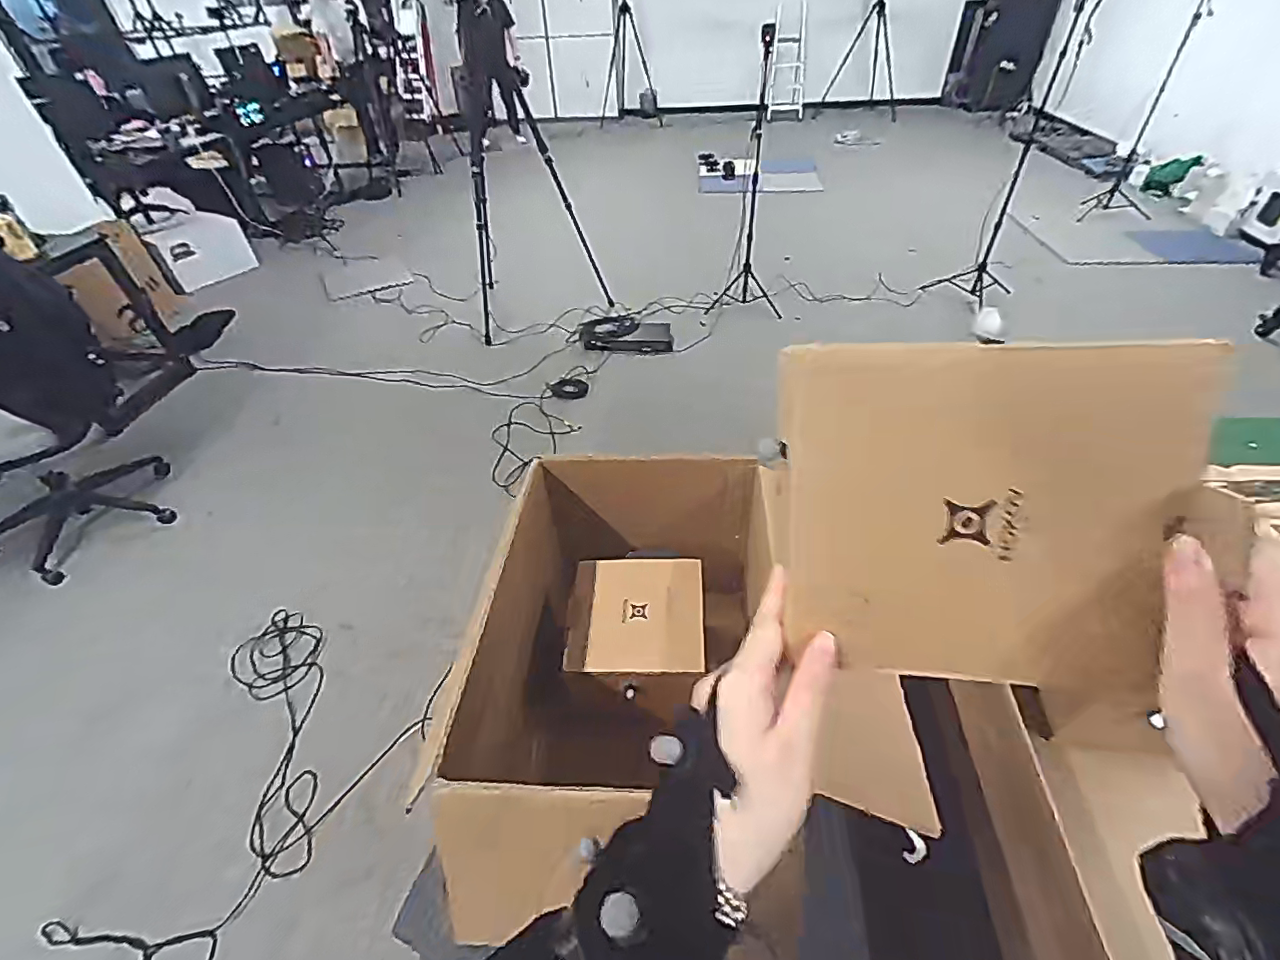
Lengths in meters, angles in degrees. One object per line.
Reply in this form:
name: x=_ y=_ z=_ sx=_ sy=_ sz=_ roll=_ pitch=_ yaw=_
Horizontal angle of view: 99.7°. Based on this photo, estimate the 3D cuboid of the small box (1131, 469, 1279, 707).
small box: x=0.598 y=0.108 z=0.563 sx=0.168 sy=0.176 sz=0.179 roll=3 pitch=45 yaw=7

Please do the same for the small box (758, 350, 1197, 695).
small box: x=0.166 y=0.005 z=0.338 sx=0.179 sy=0.168 sz=0.176 roll=2 pitch=13 yaw=10
